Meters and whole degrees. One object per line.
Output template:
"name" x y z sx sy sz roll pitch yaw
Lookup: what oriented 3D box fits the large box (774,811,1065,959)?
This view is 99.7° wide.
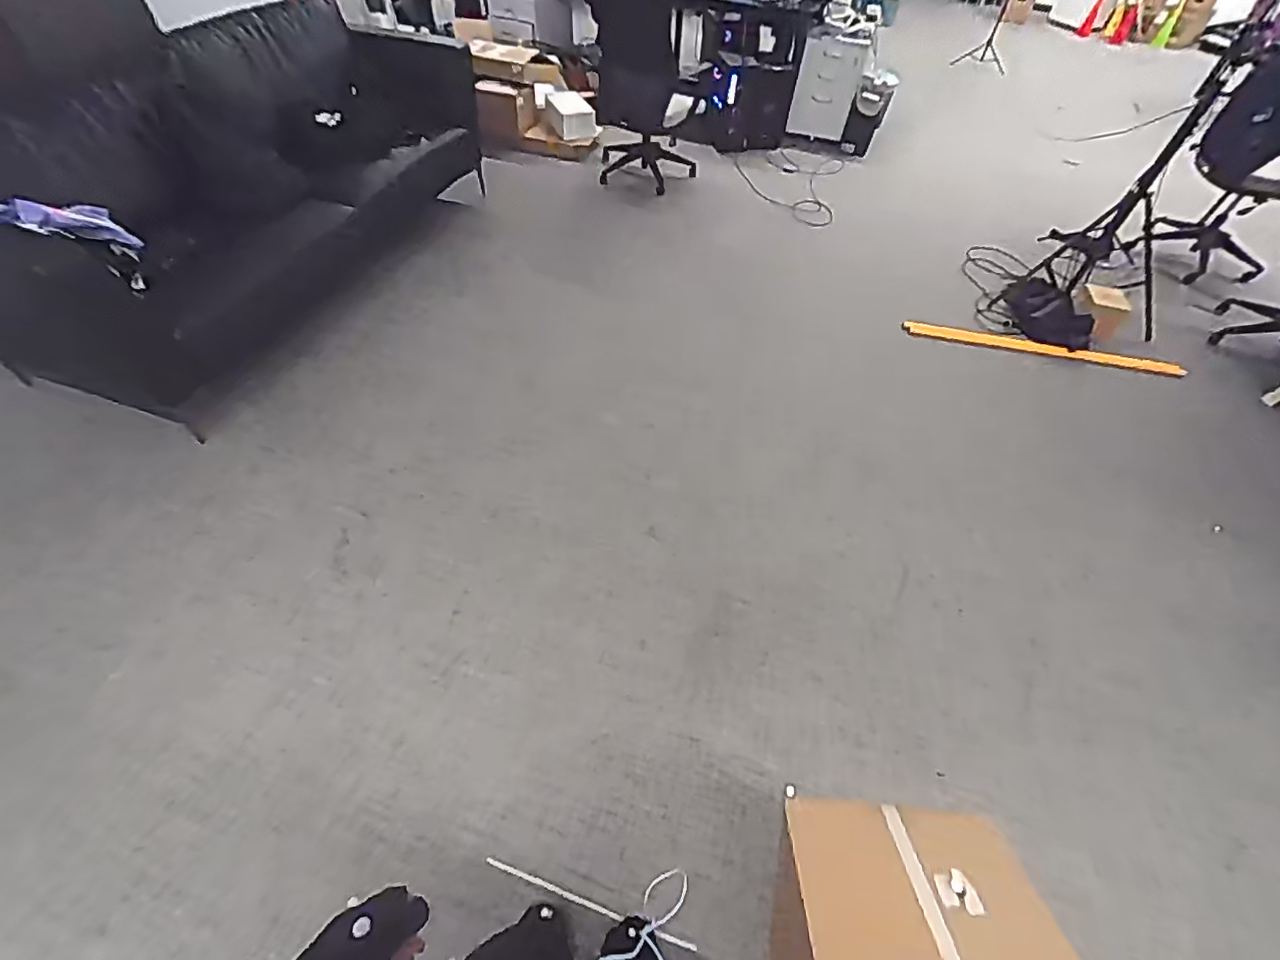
"large box" 0.360 0.720 0.688 0.320 0.320 0.408 2 14 5
